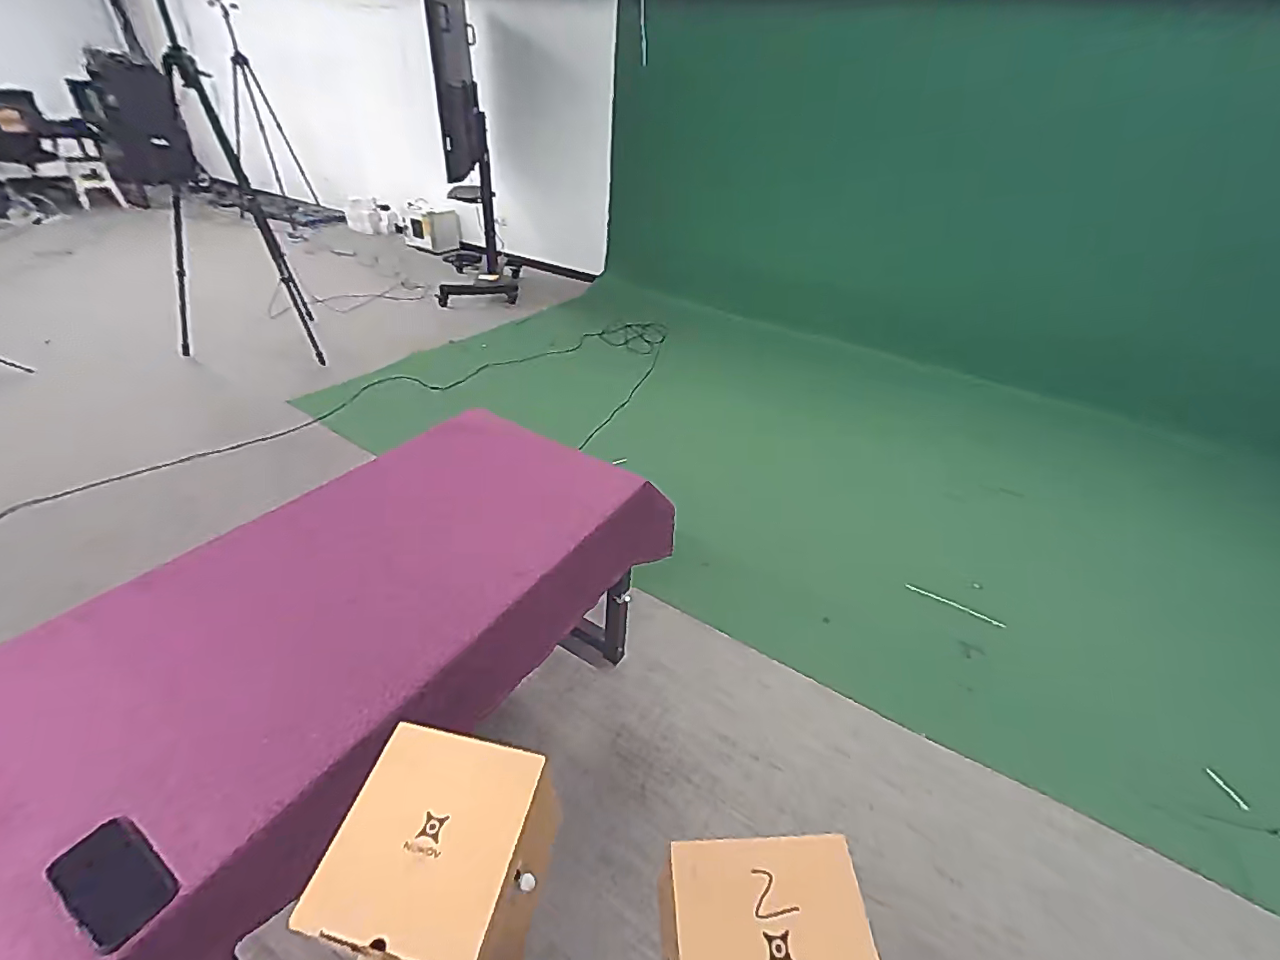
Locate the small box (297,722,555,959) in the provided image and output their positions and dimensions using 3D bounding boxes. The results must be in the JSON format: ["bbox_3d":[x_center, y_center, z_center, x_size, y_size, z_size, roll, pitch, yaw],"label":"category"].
[{"bbox_3d":[-0.193,0.385,0.553,0.168,0.176,0.179,8,43,10],"label":"small box"}]
